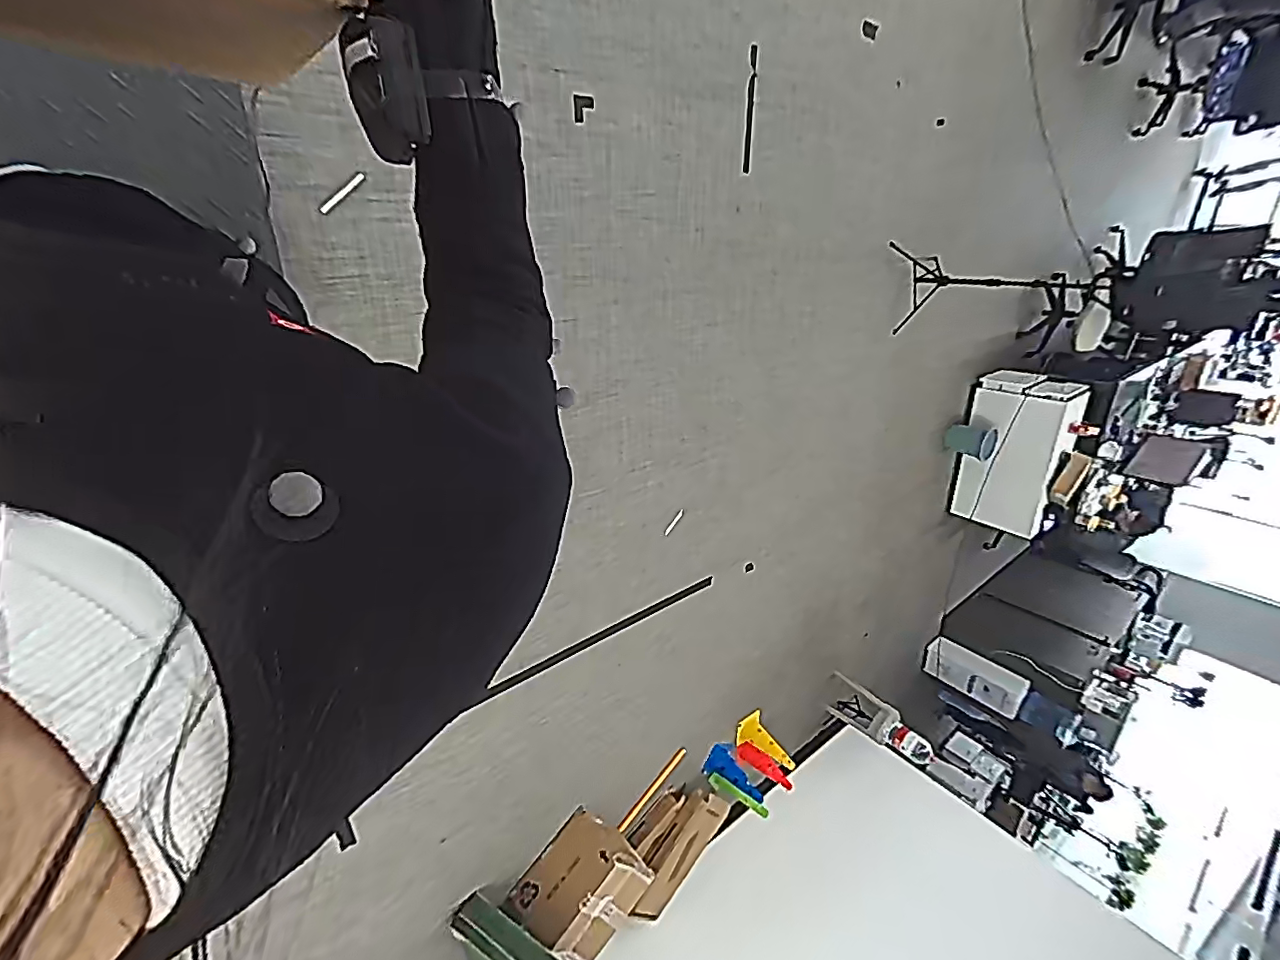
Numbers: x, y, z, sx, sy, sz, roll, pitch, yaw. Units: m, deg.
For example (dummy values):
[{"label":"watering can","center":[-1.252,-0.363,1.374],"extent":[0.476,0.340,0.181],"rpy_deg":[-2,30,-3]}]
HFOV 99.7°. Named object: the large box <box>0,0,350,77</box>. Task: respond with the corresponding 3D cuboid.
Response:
[{"label":"large box","center":[-0.400,-0.413,0.228],"extent":[0.408,0.320,0.320],"rpy_deg":[-17,123,-36]}]
